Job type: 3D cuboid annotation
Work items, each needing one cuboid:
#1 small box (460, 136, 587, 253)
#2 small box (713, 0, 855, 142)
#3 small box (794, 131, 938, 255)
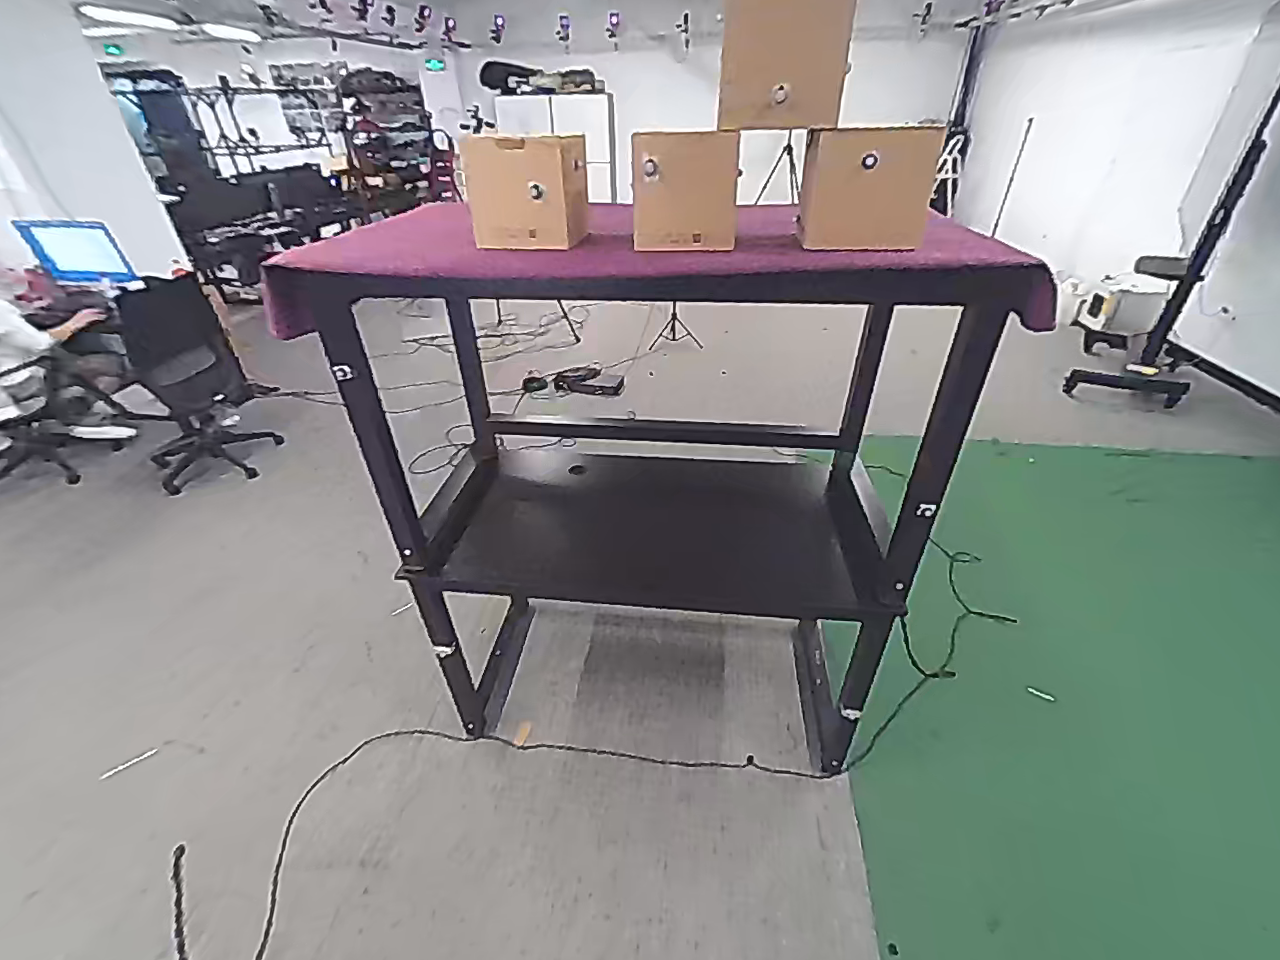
[{"bbox_3d":[-0.191,-0.504,0.954,0.168,0.176,0.179,5,34,7],"label":"small box"},{"bbox_3d":[0.209,-0.621,0.824,0.179,0.176,0.168,5,33,7],"label":"small box"},{"bbox_3d":[0.358,-0.477,0.898,0.179,0.176,0.168,3,34,6],"label":"small box"}]
